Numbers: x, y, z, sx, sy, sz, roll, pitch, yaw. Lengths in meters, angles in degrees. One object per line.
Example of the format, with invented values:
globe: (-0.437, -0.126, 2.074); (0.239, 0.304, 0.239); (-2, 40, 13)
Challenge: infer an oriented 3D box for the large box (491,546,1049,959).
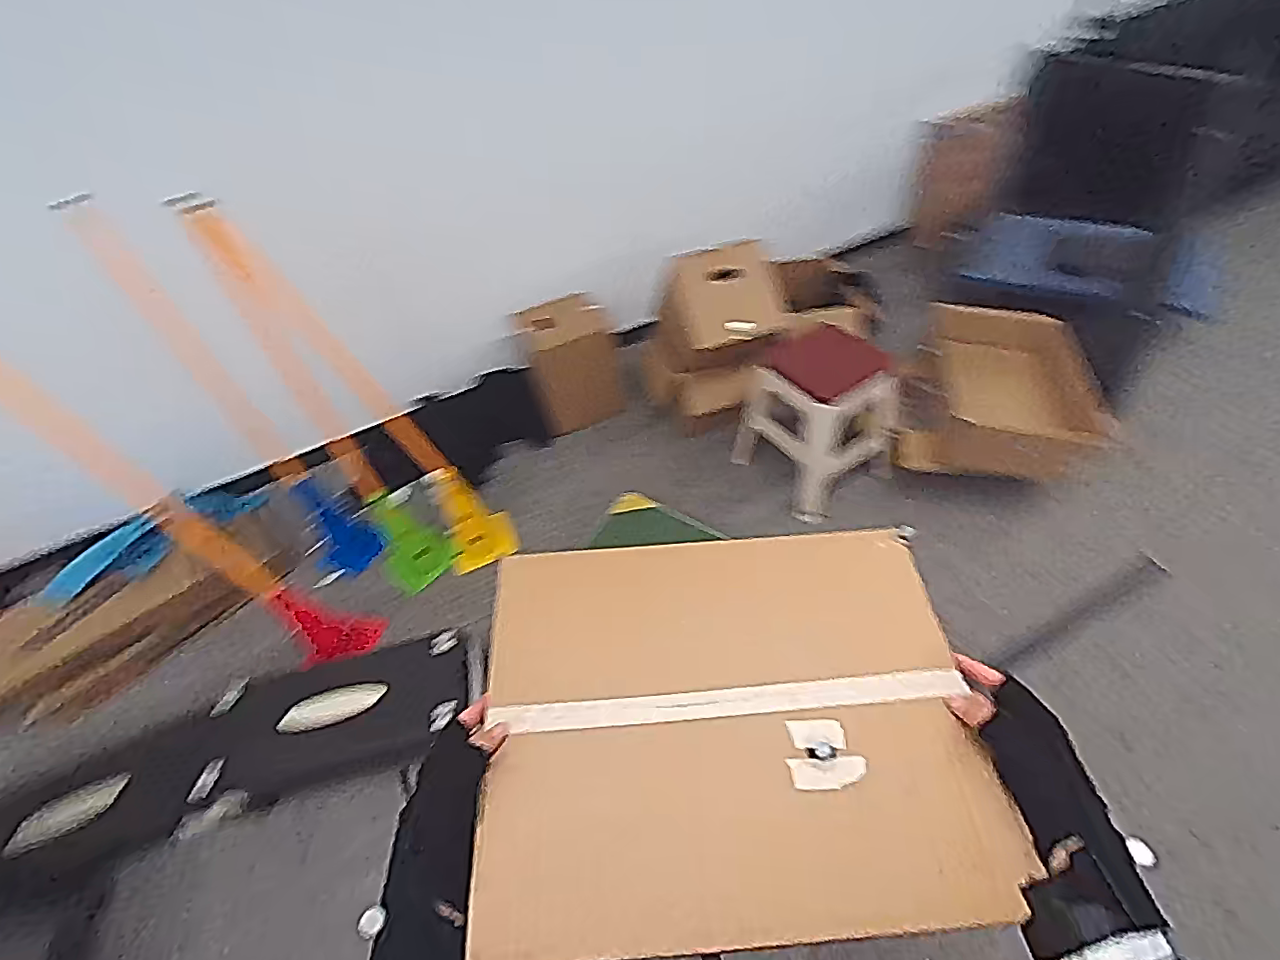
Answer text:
large box: (0.084, 0.293, 0.581); (0.408, 0.320, 0.320); (-3, 53, -1)
